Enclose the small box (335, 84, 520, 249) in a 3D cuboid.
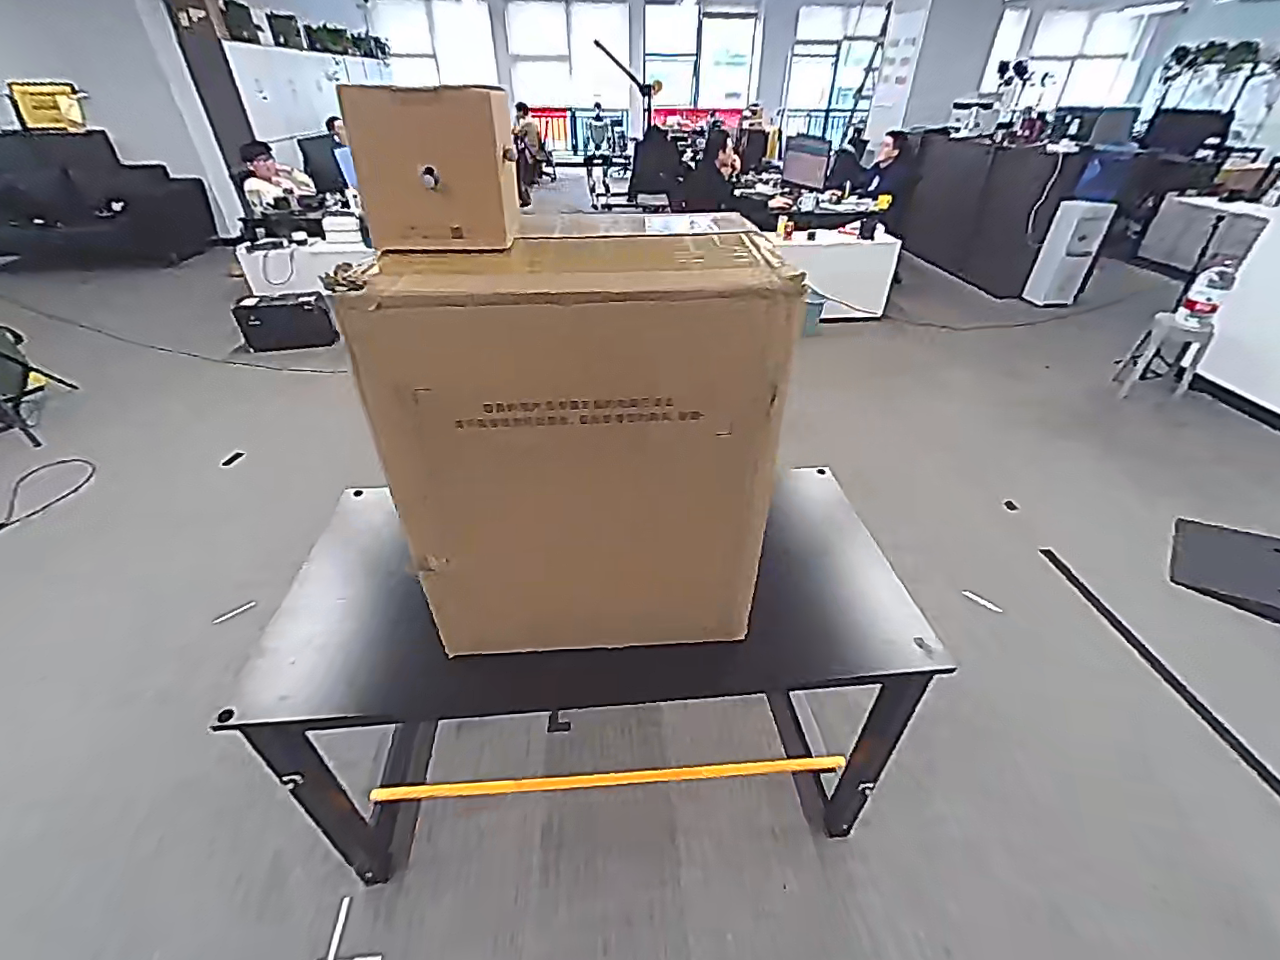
[{"bbox_3d":[-0.249,-0.398,0.688,0.168,0.176,0.179,-2,35,-5],"label":"small box"}]
